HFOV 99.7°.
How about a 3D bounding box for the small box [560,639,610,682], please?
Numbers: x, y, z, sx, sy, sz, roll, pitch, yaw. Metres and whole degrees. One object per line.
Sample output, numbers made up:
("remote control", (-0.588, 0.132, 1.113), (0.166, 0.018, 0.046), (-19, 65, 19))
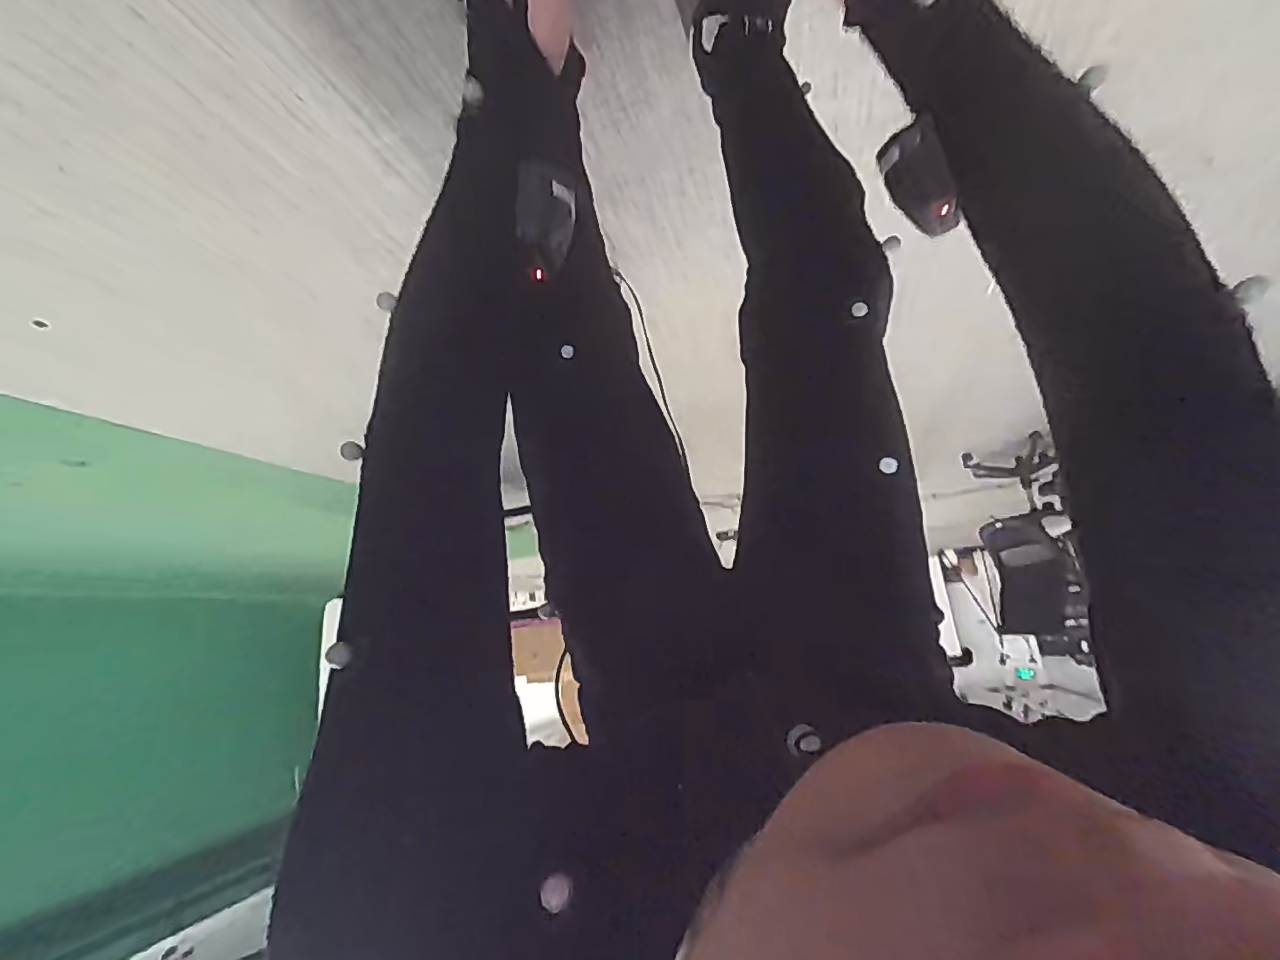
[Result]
("small box", (-0.244, 0.802, 2.411), (0.168, 0.176, 0.179), (-11, 161, 17))

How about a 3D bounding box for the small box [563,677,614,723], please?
("small box", (-0.227, 0.960, 2.369), (0.168, 0.176, 0.179), (-11, 162, 18))
